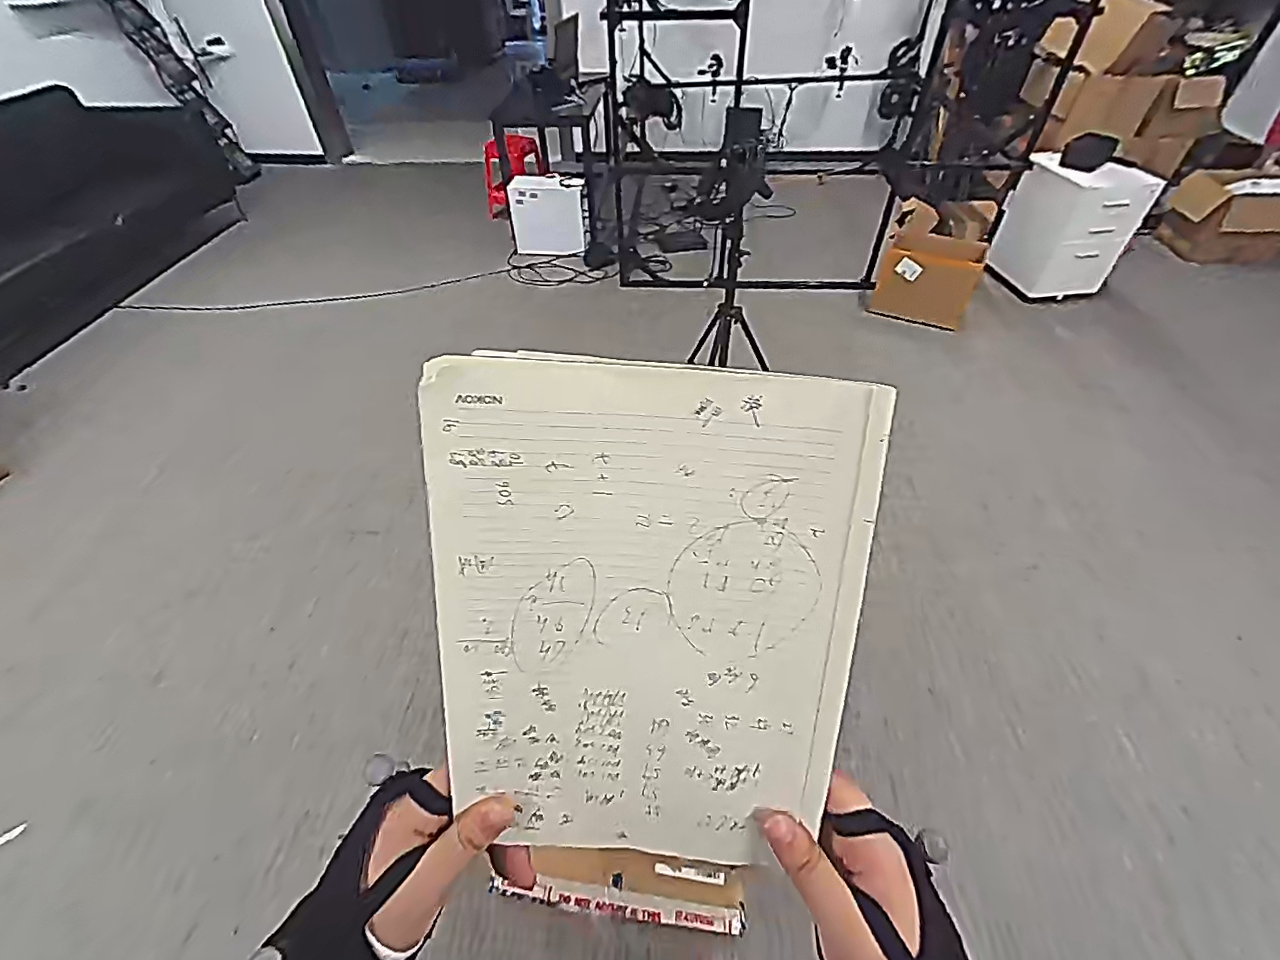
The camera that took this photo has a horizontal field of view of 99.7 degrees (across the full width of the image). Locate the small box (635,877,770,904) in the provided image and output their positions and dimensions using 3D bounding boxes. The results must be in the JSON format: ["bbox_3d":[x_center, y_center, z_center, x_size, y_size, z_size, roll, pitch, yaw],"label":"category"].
[{"bbox_3d":[0.090,0.521,0.815,0.179,0.176,0.168,5,47,4],"label":"small box"}]

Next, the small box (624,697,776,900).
[{"bbox_3d":[0.073,0.409,0.694,0.168,0.176,0.179,9,48,6],"label":"small box"}]
